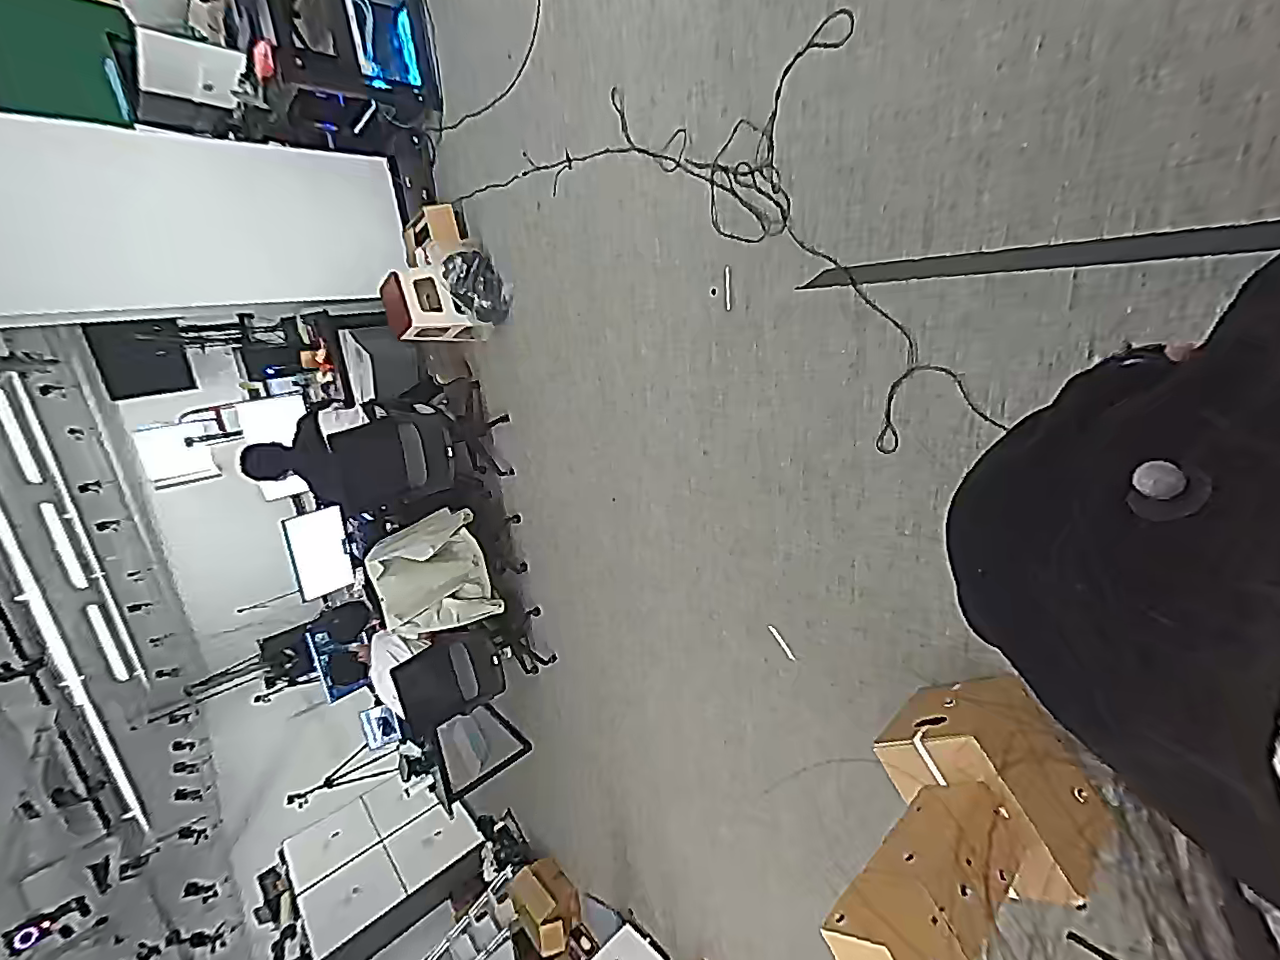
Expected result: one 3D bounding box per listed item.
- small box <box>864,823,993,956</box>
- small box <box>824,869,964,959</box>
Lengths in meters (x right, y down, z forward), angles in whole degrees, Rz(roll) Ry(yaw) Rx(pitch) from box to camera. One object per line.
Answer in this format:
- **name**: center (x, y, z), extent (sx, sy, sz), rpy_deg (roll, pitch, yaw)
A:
- **small box**: center (0.645, 0.893, 1.199), extent (0.168, 0.176, 0.179), rpy_deg (60, 141, 14)
- **small box**: center (0.522, 0.934, 1.101), extent (0.168, 0.176, 0.179), rpy_deg (61, 142, 12)
